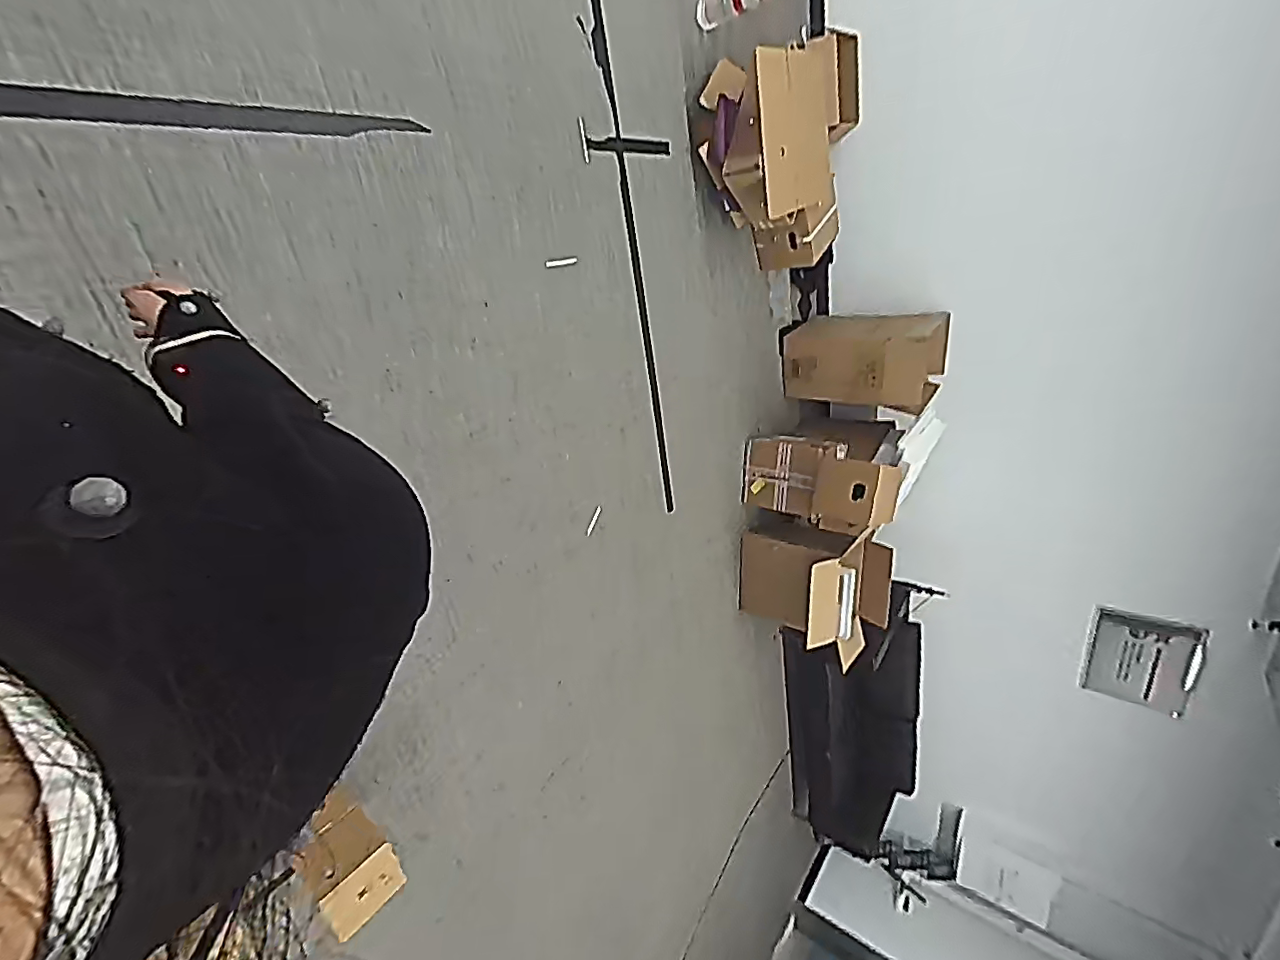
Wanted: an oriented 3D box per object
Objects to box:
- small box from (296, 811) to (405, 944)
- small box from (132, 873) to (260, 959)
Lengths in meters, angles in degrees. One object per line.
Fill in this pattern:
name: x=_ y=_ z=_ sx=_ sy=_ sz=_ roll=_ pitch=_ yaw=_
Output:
small box: x=-0.740 y=0.999 z=1.374 sx=0.179 sy=0.176 sz=0.168 roll=-33 pitch=123 yaw=-44
small box: x=-1.049 y=1.093 z=1.273 sx=0.179 sy=0.176 sz=0.168 roll=-34 pitch=124 yaw=-44
